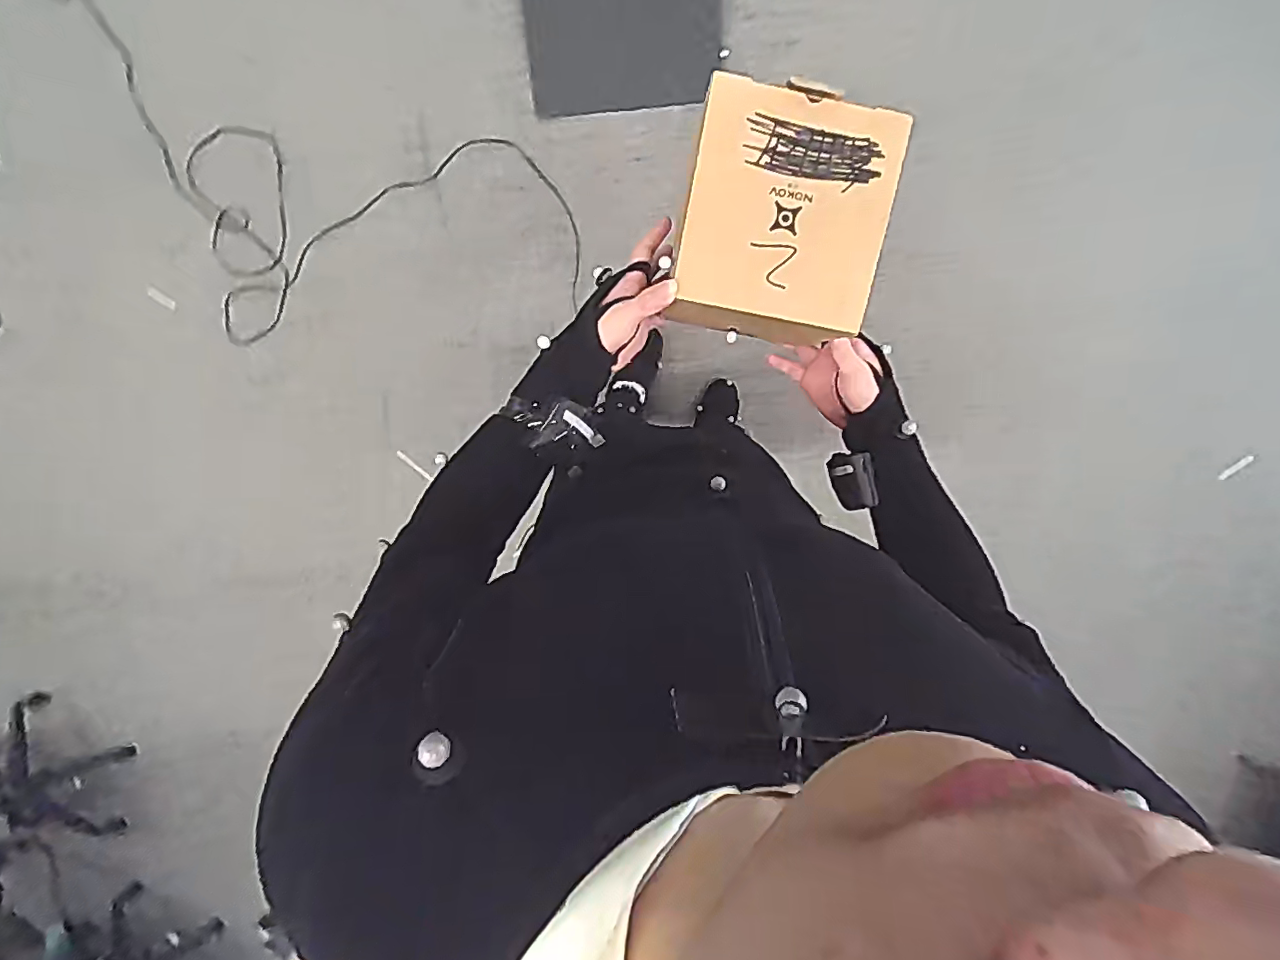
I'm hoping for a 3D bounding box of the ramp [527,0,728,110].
[{"bbox_3d":[-0.054,-1.430,1.188,0.509,0.206,0.991,-4,105,4],"label":"ramp"}]
